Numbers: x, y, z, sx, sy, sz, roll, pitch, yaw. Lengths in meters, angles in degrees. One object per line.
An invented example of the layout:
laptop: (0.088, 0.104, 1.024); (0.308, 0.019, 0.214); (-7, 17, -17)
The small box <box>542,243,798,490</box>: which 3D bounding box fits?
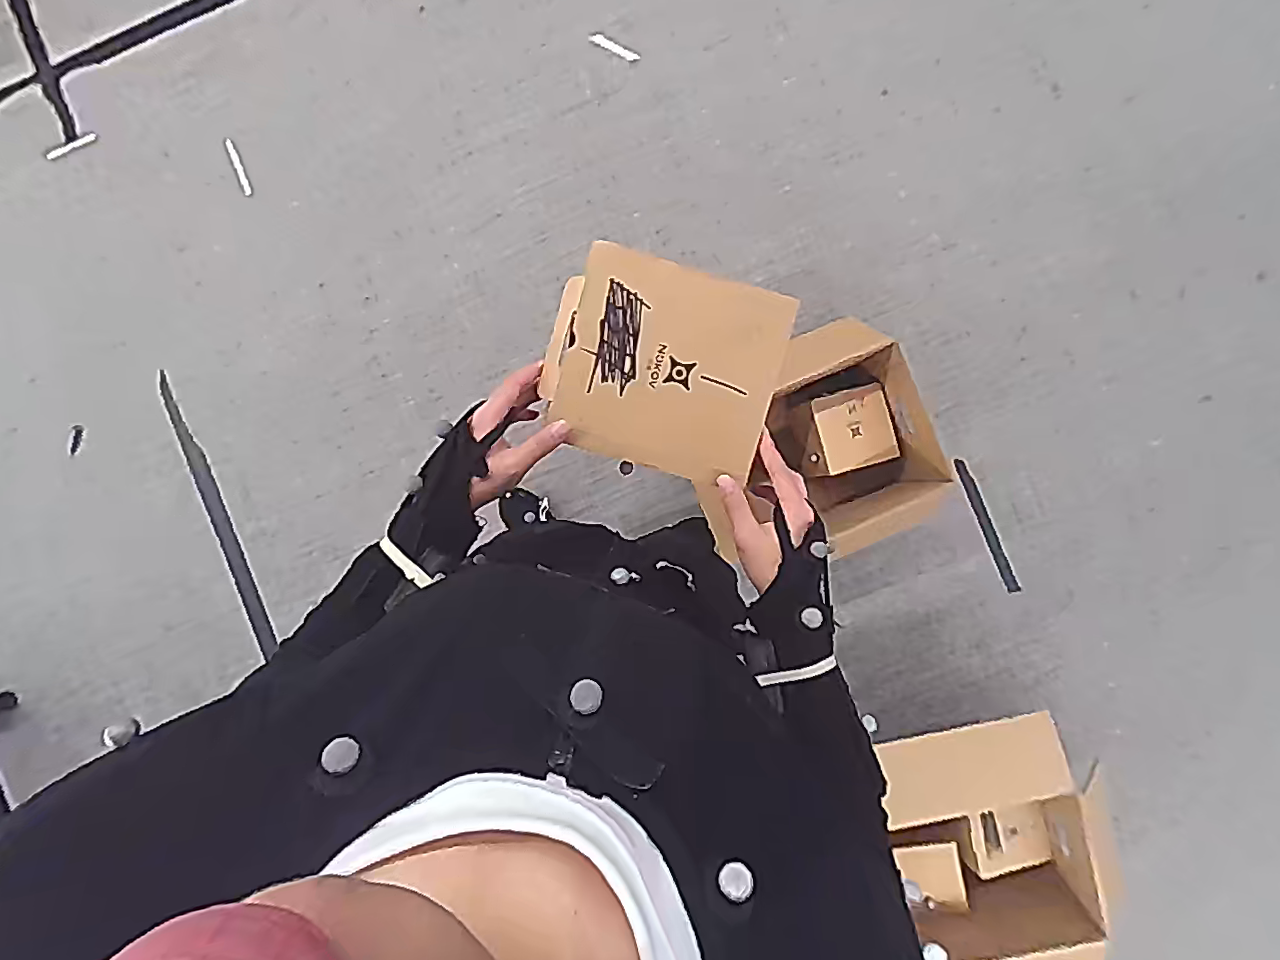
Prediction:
small box: (0.023, -0.097, 0.522); (0.179, 0.176, 0.168); (16, 95, -2)
